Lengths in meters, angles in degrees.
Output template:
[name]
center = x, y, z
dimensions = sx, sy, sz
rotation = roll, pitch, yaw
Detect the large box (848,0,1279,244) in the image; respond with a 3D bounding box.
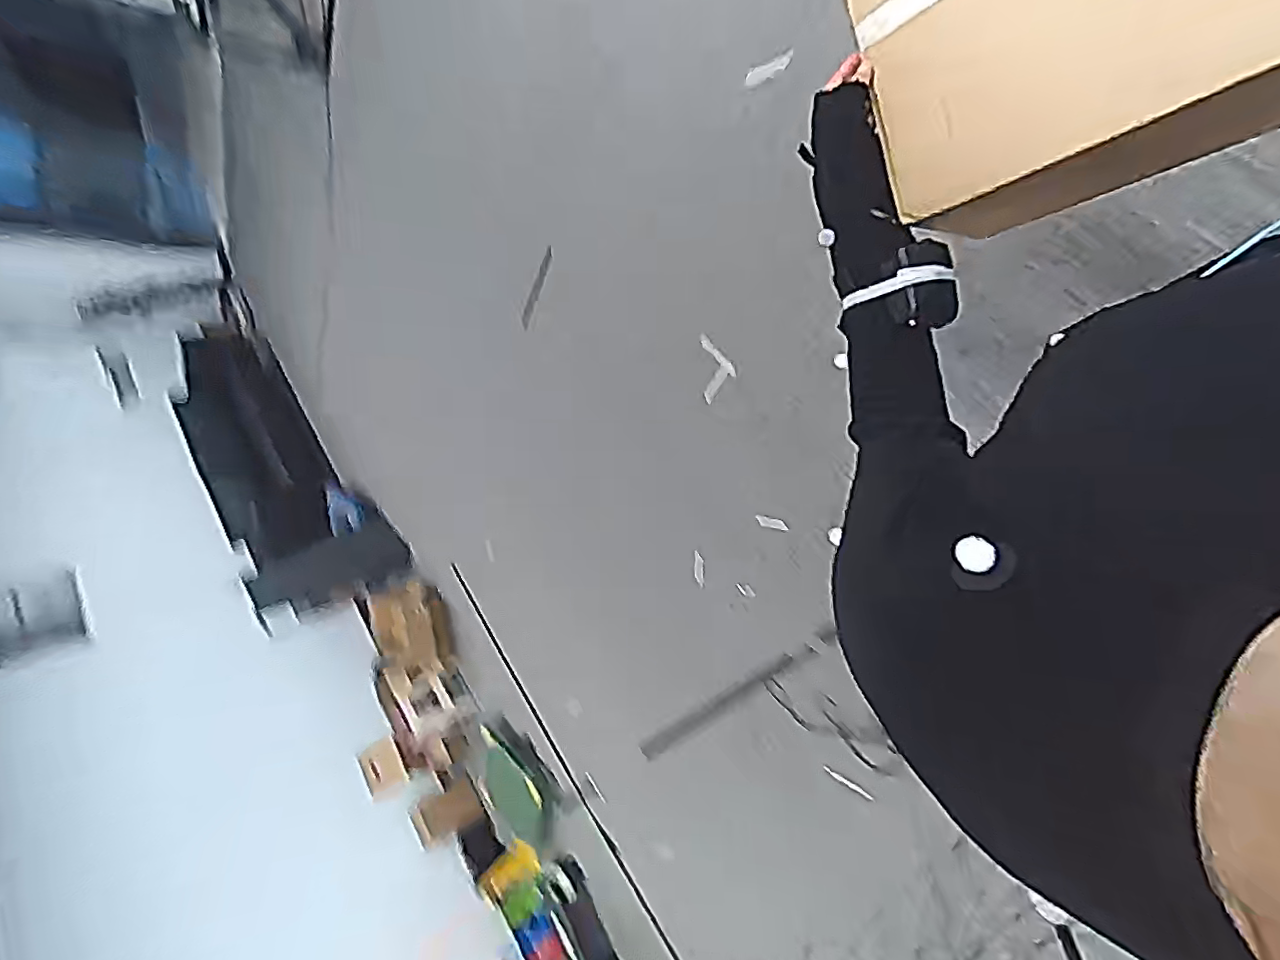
[large box]
center = 0.427, -0.438, 0.439
dimensions = 0.408, 0.320, 0.320
rotation = -13, 98, 44
